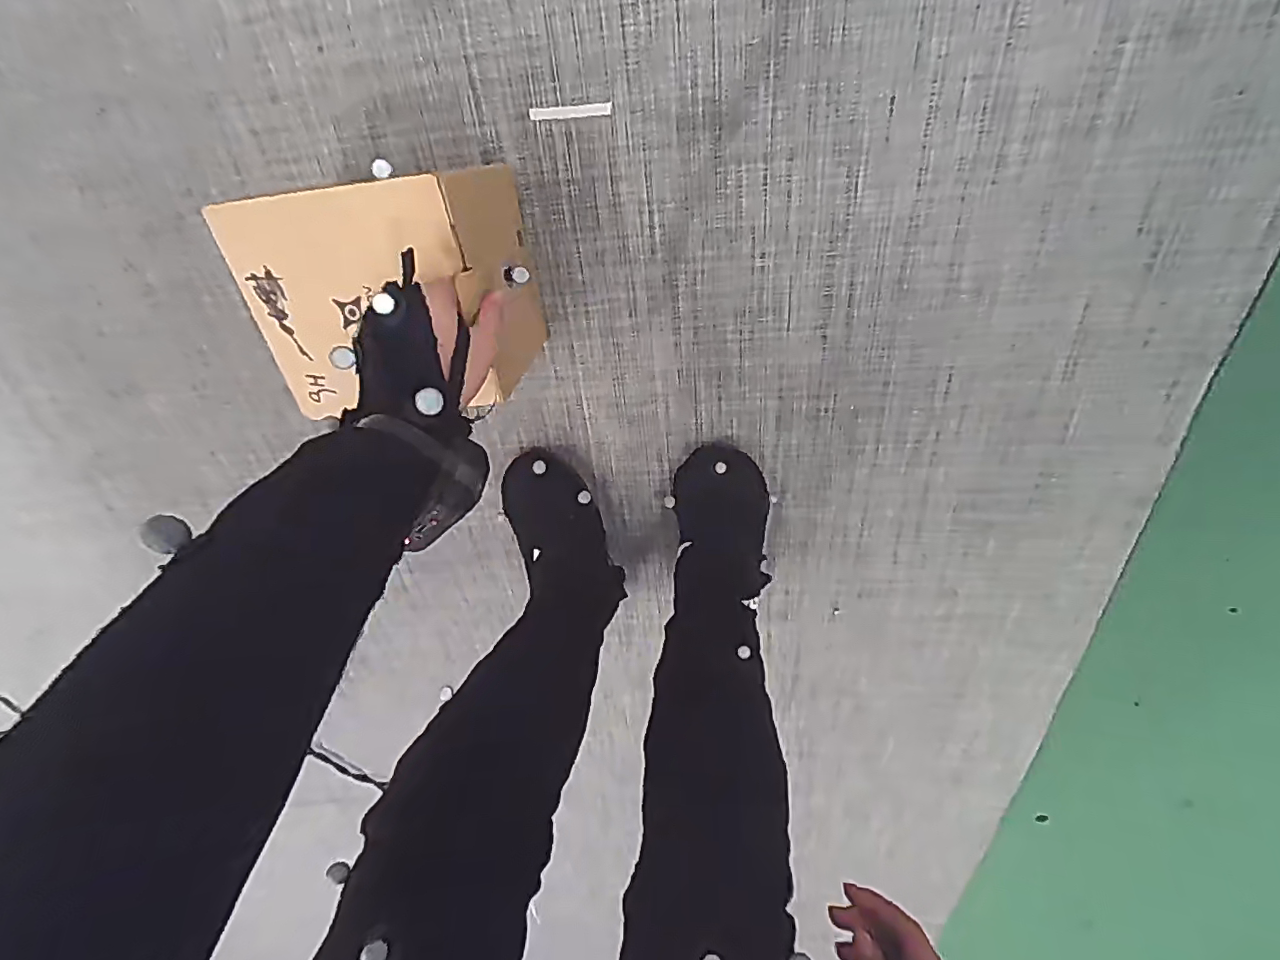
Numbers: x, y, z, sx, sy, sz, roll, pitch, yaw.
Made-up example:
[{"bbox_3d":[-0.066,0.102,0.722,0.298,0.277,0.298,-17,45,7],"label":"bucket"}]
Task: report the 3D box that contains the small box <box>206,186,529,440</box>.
[{"bbox_3d":[-0.205,-0.152,0.476,0.179,0.176,0.168,-5,122,6],"label":"small box"}]
